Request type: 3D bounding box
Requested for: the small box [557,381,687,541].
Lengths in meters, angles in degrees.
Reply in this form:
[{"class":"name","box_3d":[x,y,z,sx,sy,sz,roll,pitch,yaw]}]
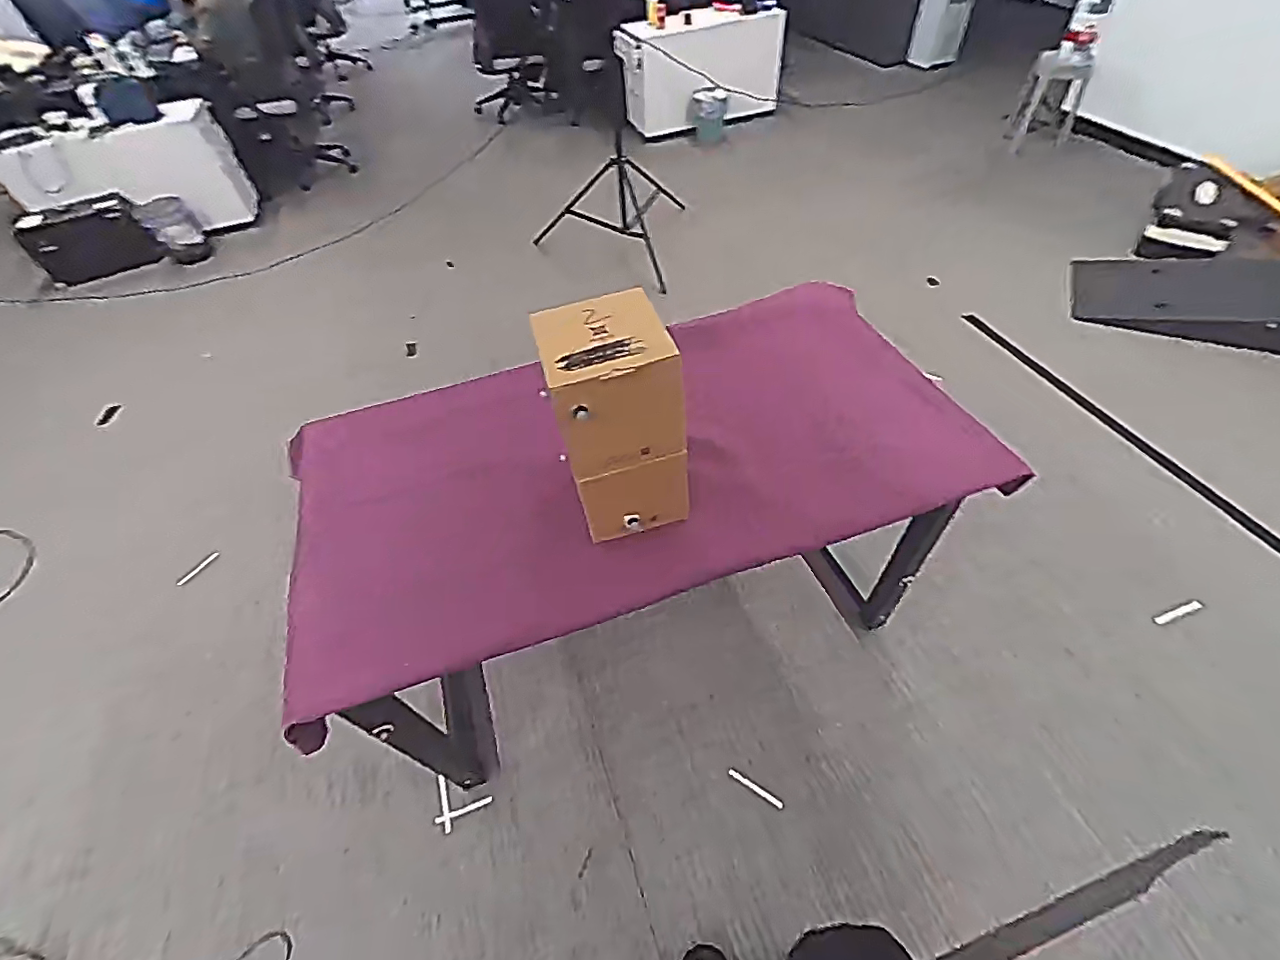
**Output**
[{"class":"small box","box_3d":[-0.029,-0.030,0.887,0.168,0.176,0.179,-16,51,-7]}]
